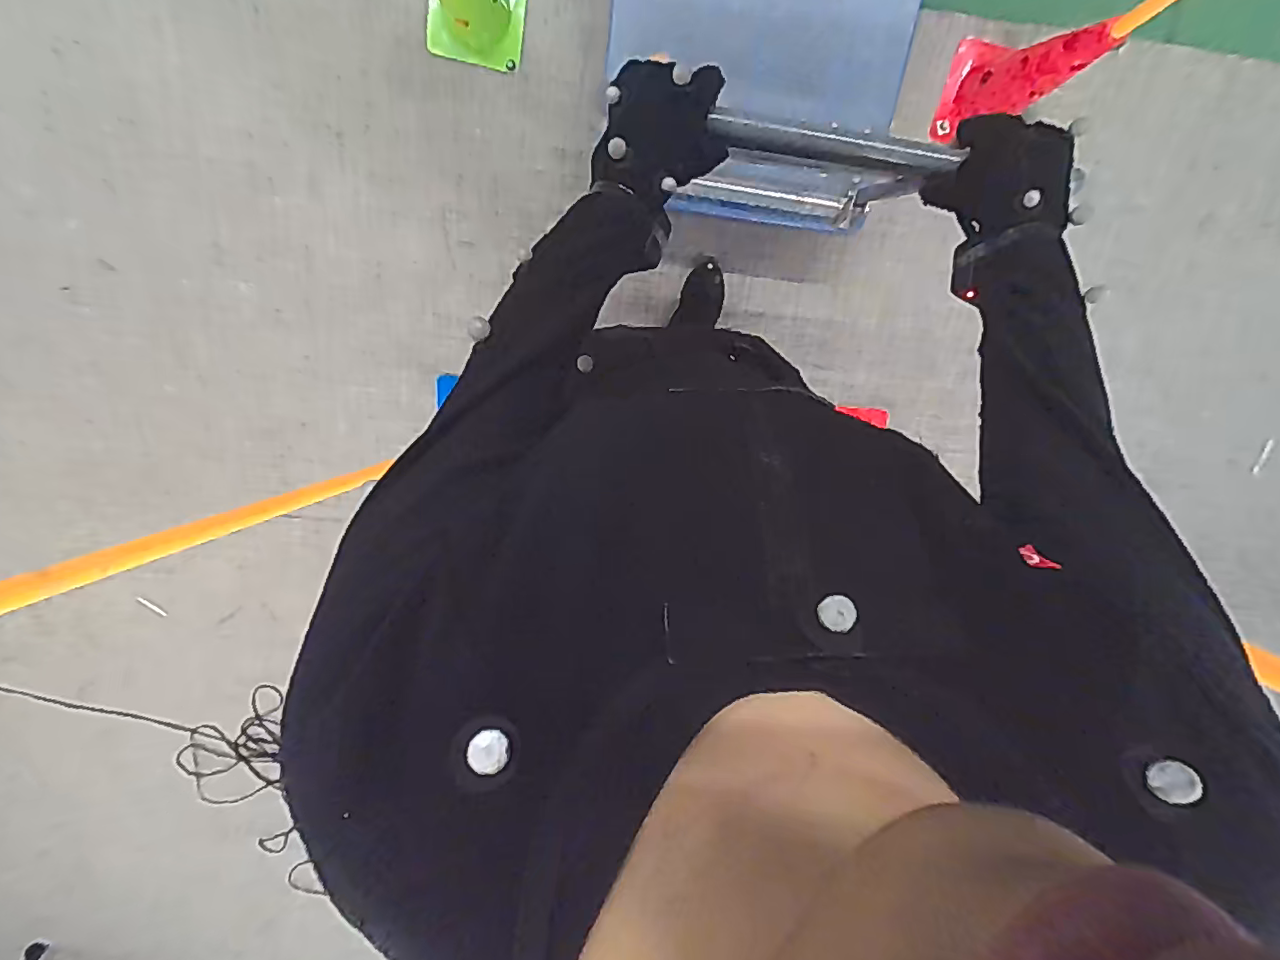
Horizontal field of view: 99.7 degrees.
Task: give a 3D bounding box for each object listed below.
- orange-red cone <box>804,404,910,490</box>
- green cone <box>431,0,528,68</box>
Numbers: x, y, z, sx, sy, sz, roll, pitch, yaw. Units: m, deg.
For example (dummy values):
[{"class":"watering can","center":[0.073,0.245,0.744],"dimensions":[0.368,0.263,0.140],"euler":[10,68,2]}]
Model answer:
[{"class":"orange-red cone","center":[0.561,-0.051,1.327],"dimensions":[0.199,0.360,0.198],"euler":[6,109,-1]},{"class":"green cone","center":[-0.339,-0.953,0.985],"dimensions":[0.202,0.368,0.200],"euler":[11,109,-4]}]
